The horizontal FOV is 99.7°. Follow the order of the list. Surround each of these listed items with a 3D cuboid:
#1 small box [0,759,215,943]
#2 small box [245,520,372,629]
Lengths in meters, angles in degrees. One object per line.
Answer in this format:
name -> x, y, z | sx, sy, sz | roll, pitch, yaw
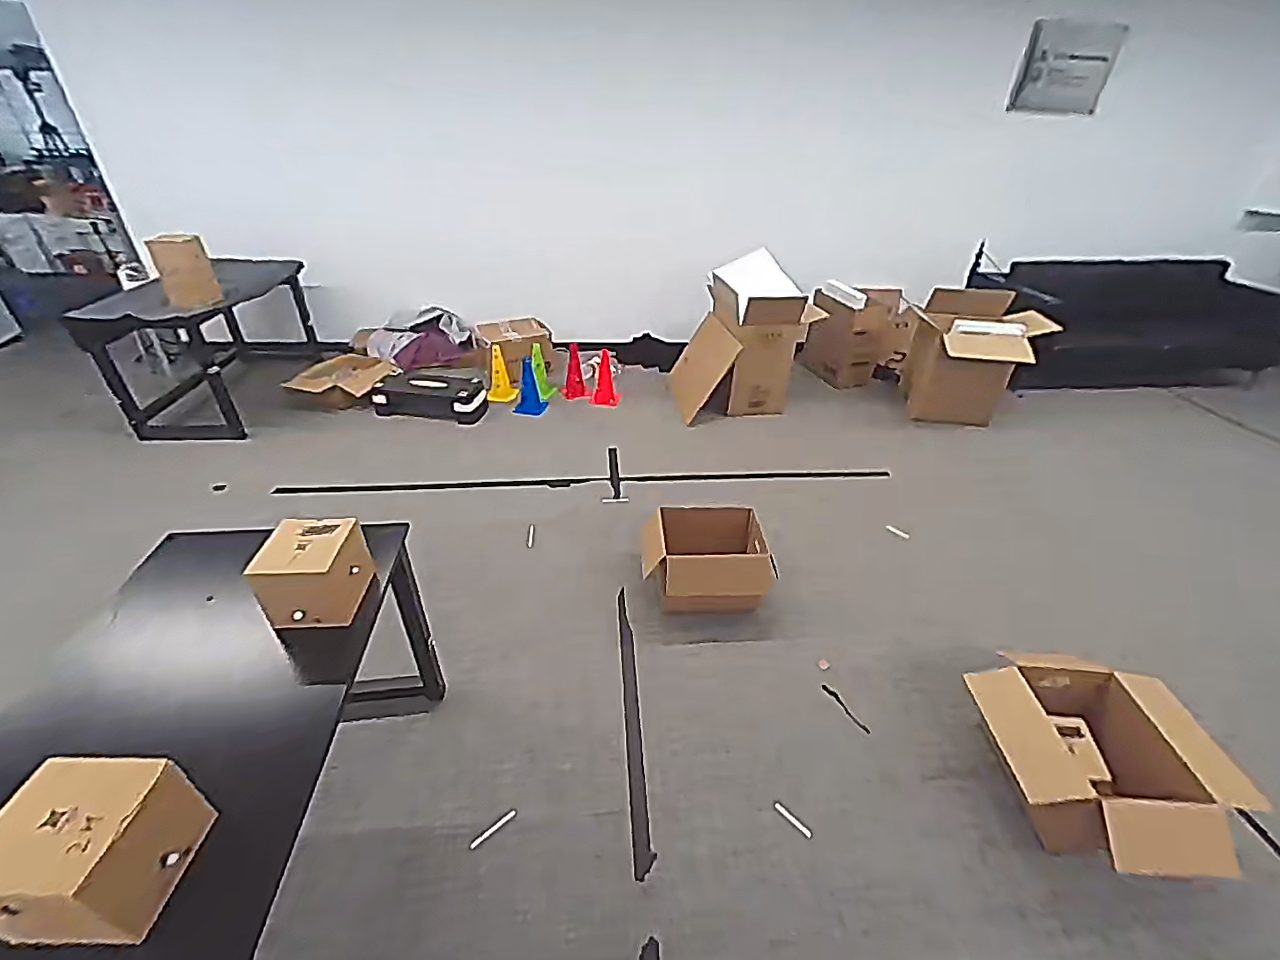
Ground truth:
small box -> -0.754, 0.512, 0.749 | 0.179, 0.176, 0.168 | 1, 35, -1
small box -> -0.716, 0.206, 1.196 | 0.168, 0.176, 0.179 | -1, 36, -4
